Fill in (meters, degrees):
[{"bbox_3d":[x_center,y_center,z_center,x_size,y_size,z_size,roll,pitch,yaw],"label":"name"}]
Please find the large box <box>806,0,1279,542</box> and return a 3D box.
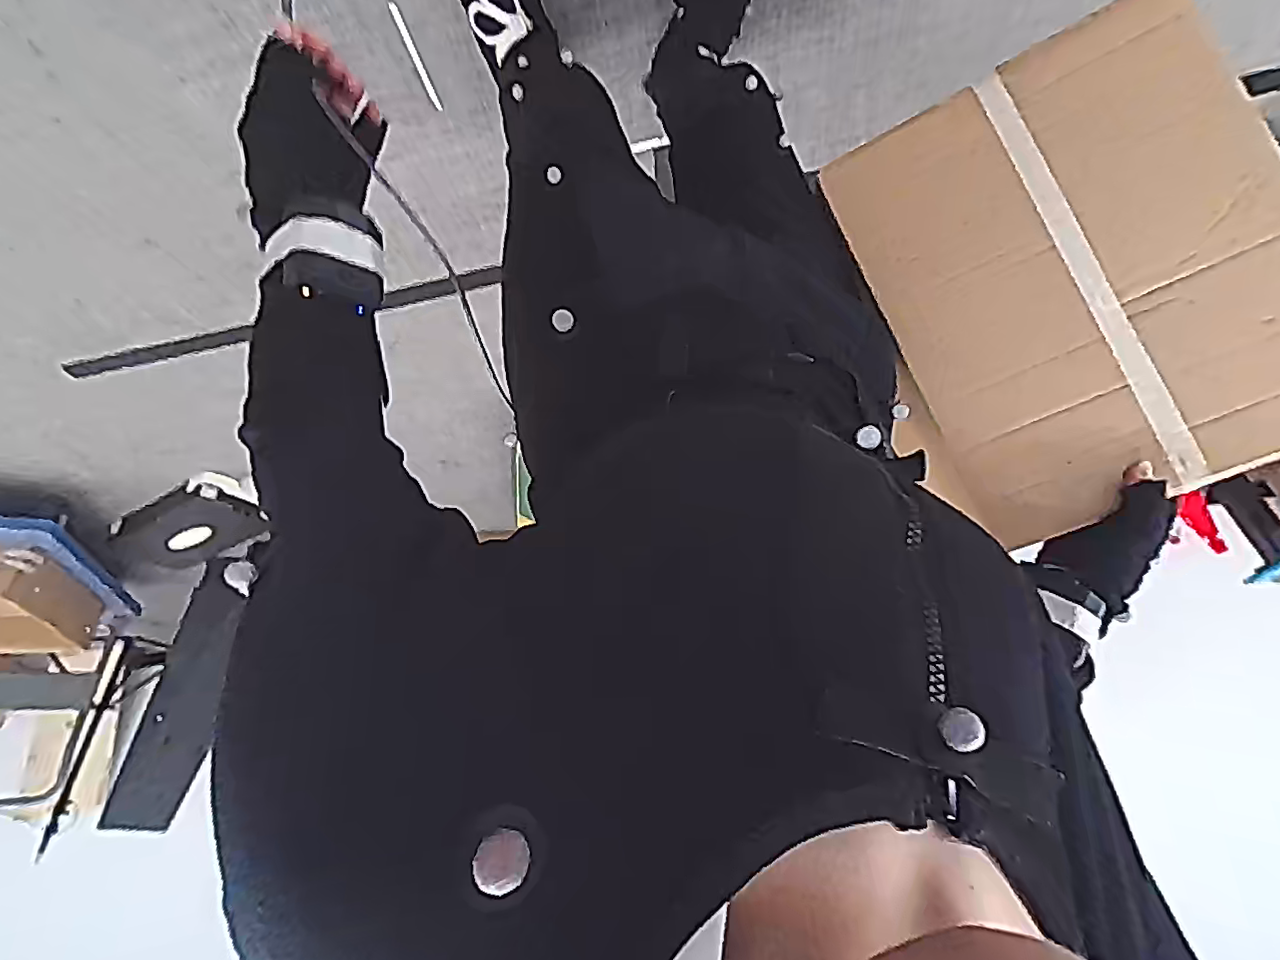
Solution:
[{"bbox_3d":[0.419,-0.185,0.622,0.320,0.408,0.320,-24,175,17],"label":"large box"}]
